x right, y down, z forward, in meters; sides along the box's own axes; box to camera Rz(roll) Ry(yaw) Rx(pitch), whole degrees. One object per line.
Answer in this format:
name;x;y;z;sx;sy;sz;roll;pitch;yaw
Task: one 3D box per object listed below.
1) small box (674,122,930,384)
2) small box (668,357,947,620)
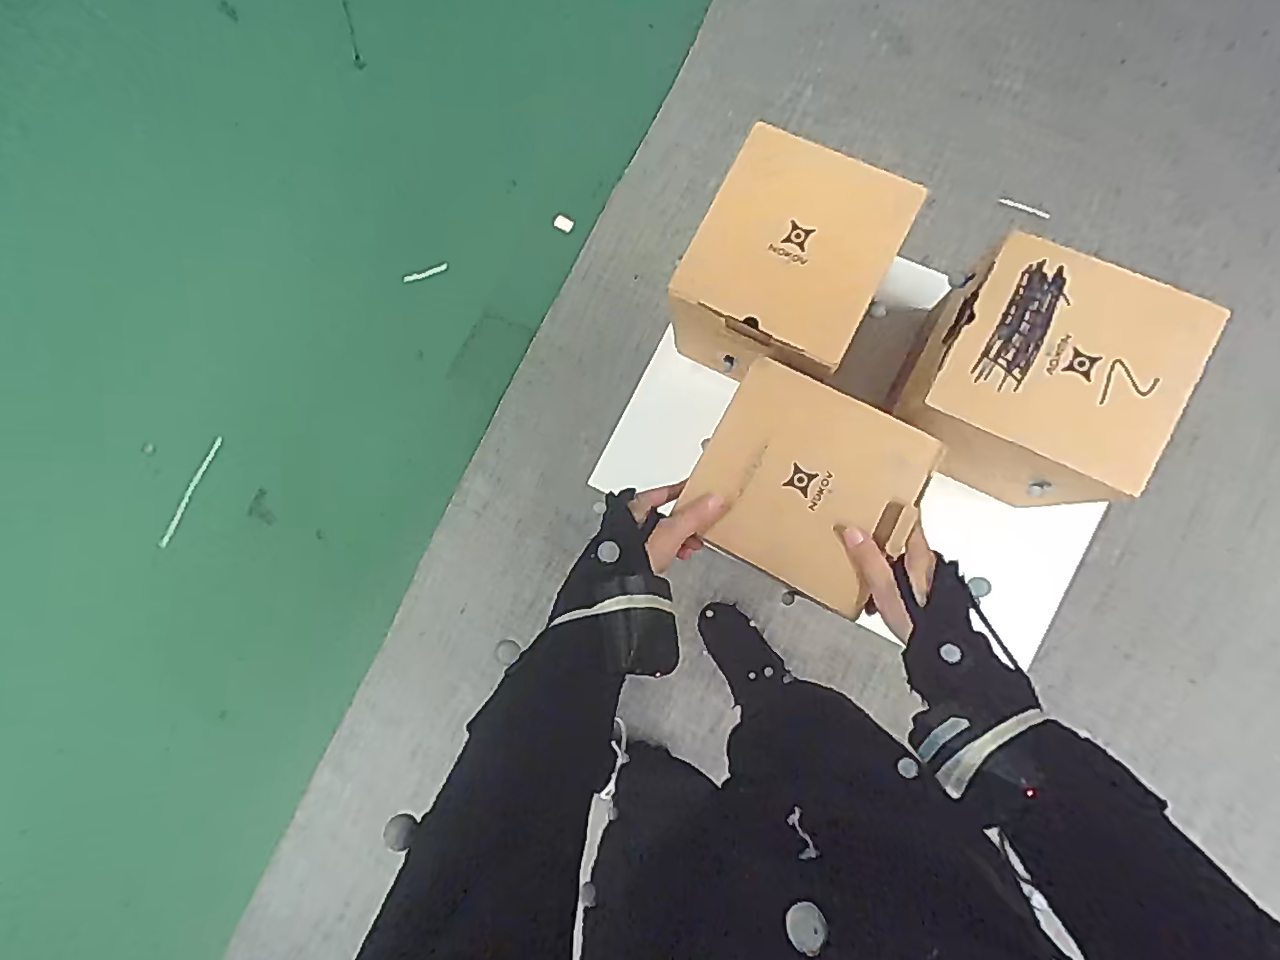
small box;0.147;-0.201;0.550;0.168;0.176;0.179;28;89;9
small box;0.147;0.012;0.527;0.179;0.176;0.168;28;86;11
